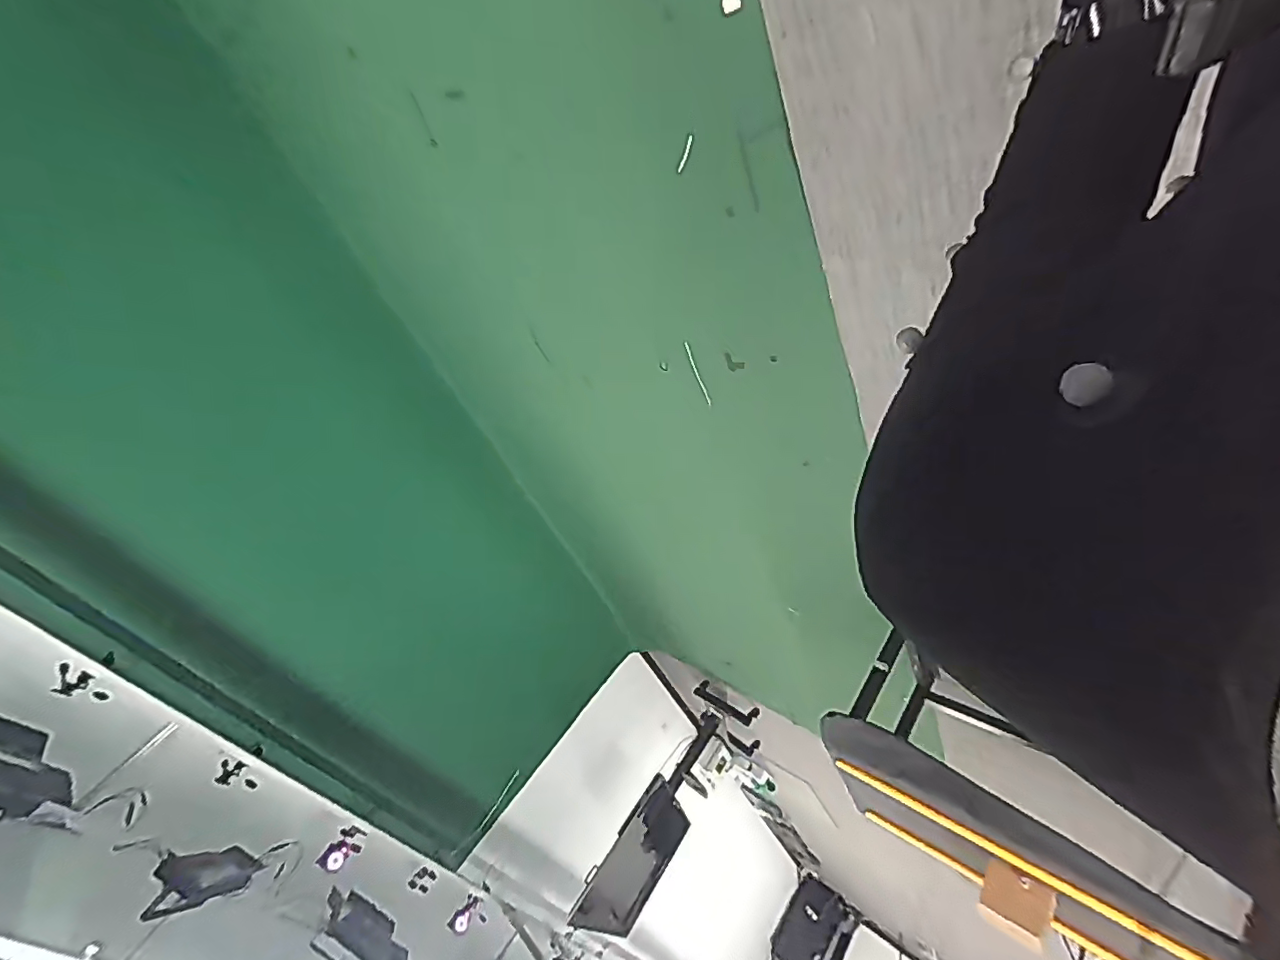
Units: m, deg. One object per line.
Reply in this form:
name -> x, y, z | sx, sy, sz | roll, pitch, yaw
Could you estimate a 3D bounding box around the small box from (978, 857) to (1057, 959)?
small box -> 1.183, 1.336, 1.690 | 0.168, 0.176, 0.179 | 9, 137, 47
